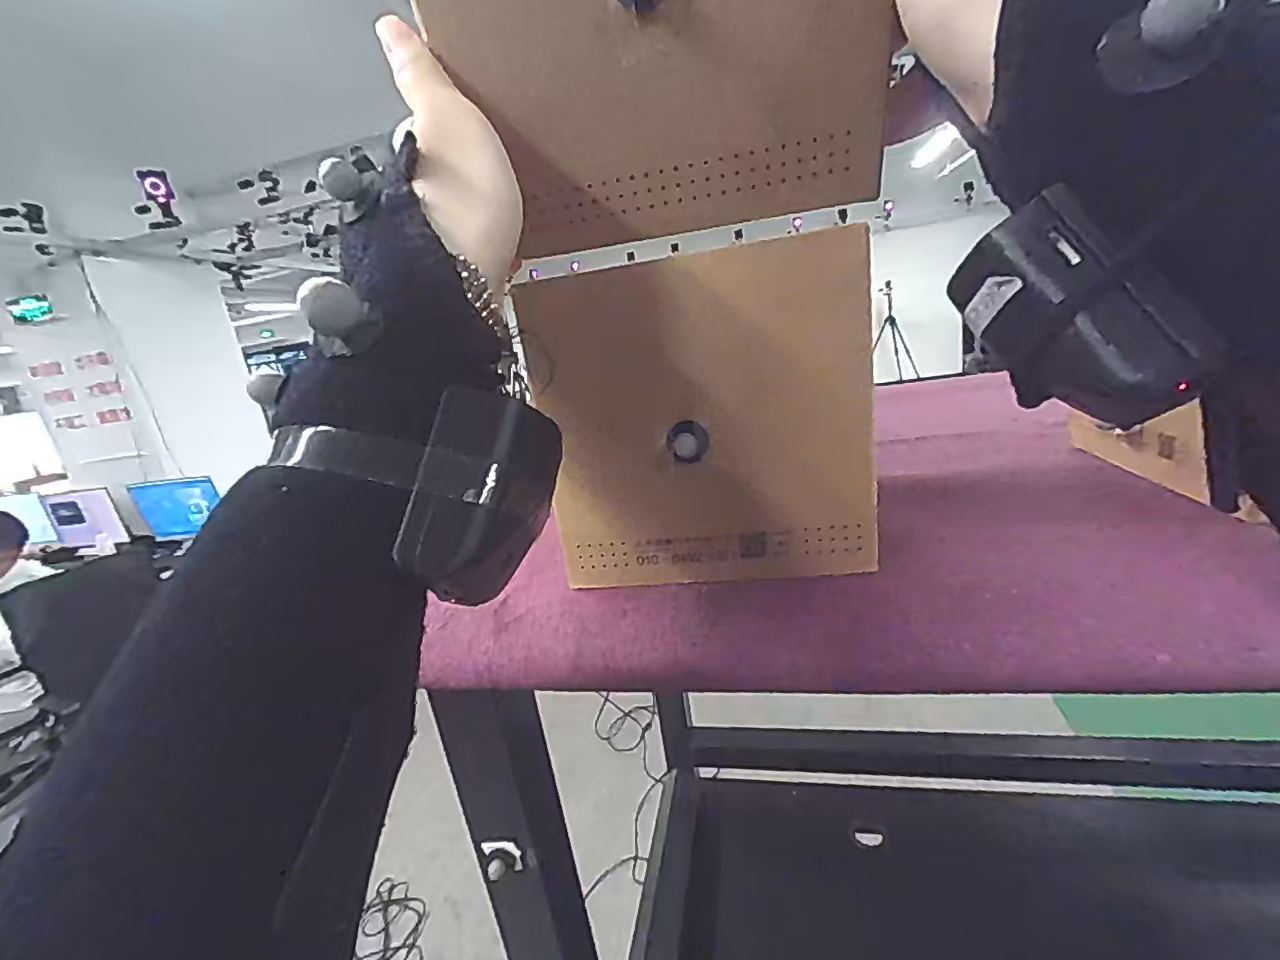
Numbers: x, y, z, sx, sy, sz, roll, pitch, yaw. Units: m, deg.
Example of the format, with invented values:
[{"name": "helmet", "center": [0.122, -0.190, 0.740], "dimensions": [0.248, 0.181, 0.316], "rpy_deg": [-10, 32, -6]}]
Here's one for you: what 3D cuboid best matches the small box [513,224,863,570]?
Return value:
[{"name": "small box", "center": [0.041, -0.049, 0.350], "dimensions": [0.168, 0.176, 0.179], "rpy_deg": [-4, 16, 11]}]
